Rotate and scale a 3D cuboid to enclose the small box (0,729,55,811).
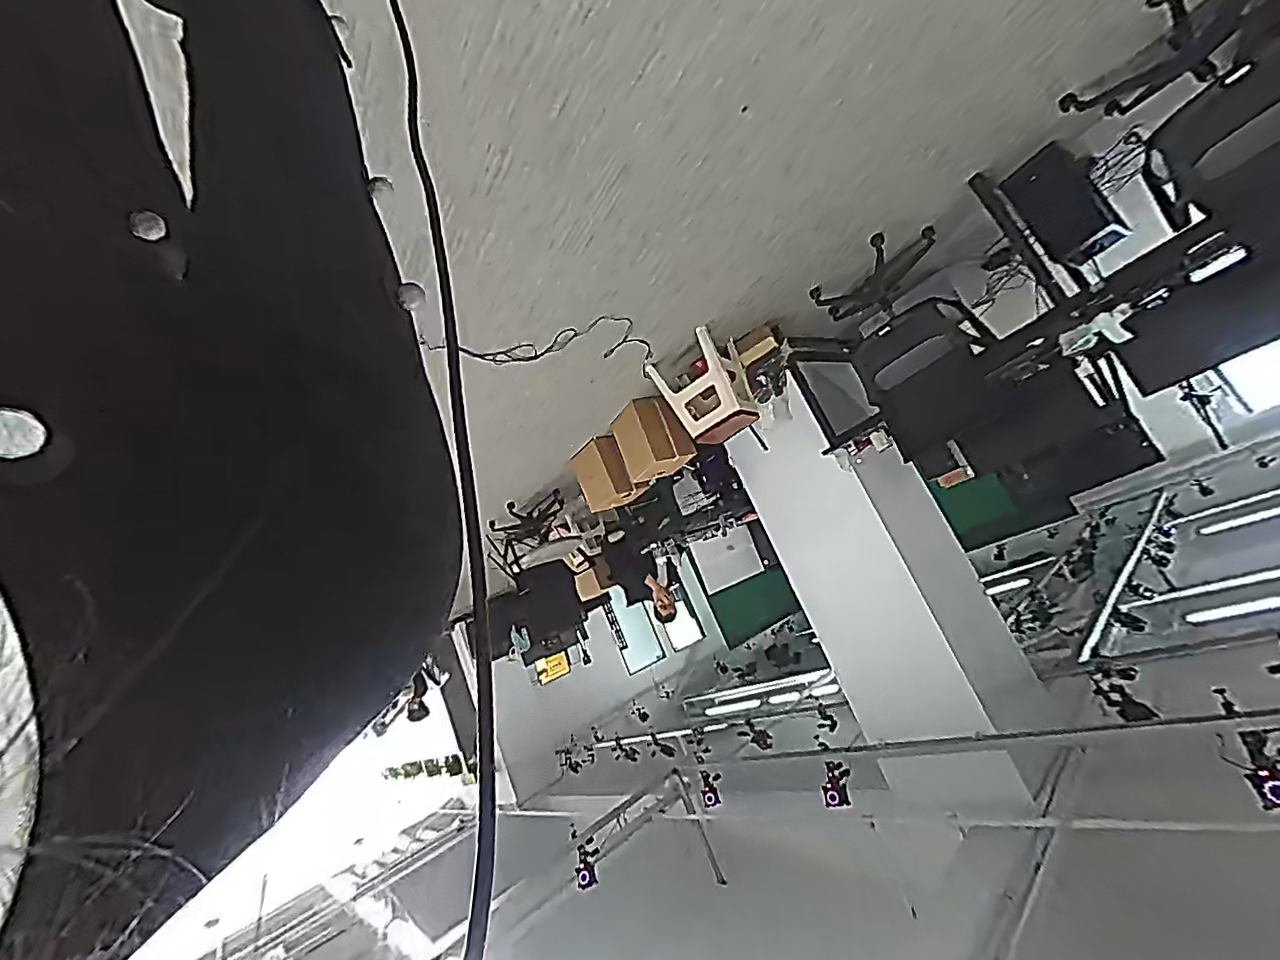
[{"bbox_3d":[-1.817,0.841,1.534,0.179,0.168,0.176,-21,169,-47],"label":"small box"}]
